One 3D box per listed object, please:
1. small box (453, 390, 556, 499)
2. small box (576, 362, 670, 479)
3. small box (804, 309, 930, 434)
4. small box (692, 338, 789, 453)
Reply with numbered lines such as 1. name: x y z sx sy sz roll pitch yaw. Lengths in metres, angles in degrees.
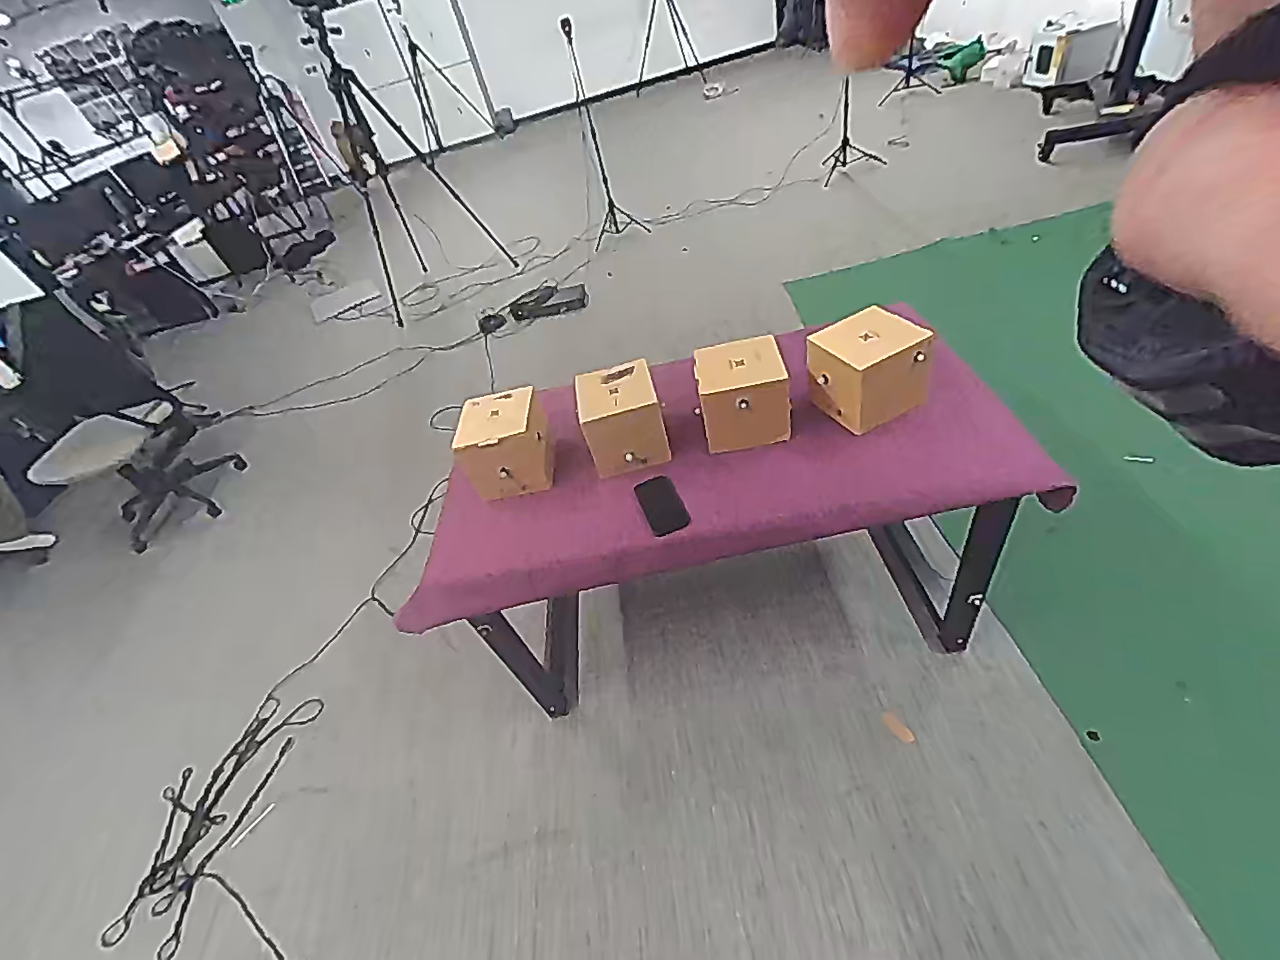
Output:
1. small box: -0.298 -0.074 1.229 0.168 0.176 0.179 -11 44 7
2. small box: -0.037 -0.130 1.199 0.168 0.176 0.179 -15 44 4
3. small box: 0.468 -0.225 1.128 0.179 0.176 0.168 -26 43 -9
4. small box: 0.216 -0.176 1.164 0.179 0.176 0.168 -10 44 9
